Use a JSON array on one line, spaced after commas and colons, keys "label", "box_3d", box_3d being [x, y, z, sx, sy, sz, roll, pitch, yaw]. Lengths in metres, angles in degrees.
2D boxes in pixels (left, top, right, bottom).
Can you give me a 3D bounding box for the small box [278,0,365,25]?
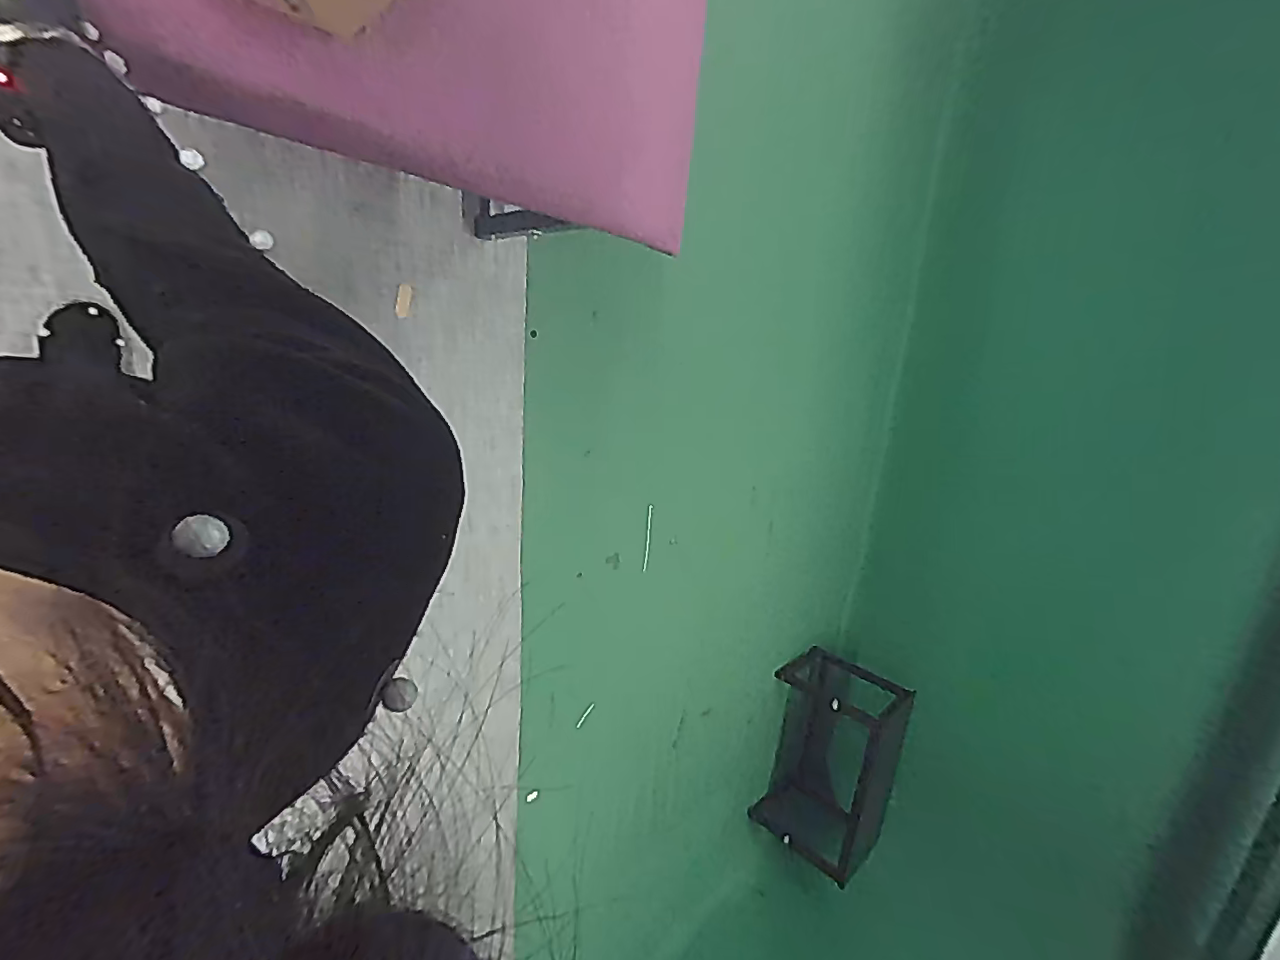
[{"label": "small box", "box_3d": [-0.343, -0.580, 0.506, 0.168, 0.176, 0.179, -9, 111, -46]}]
